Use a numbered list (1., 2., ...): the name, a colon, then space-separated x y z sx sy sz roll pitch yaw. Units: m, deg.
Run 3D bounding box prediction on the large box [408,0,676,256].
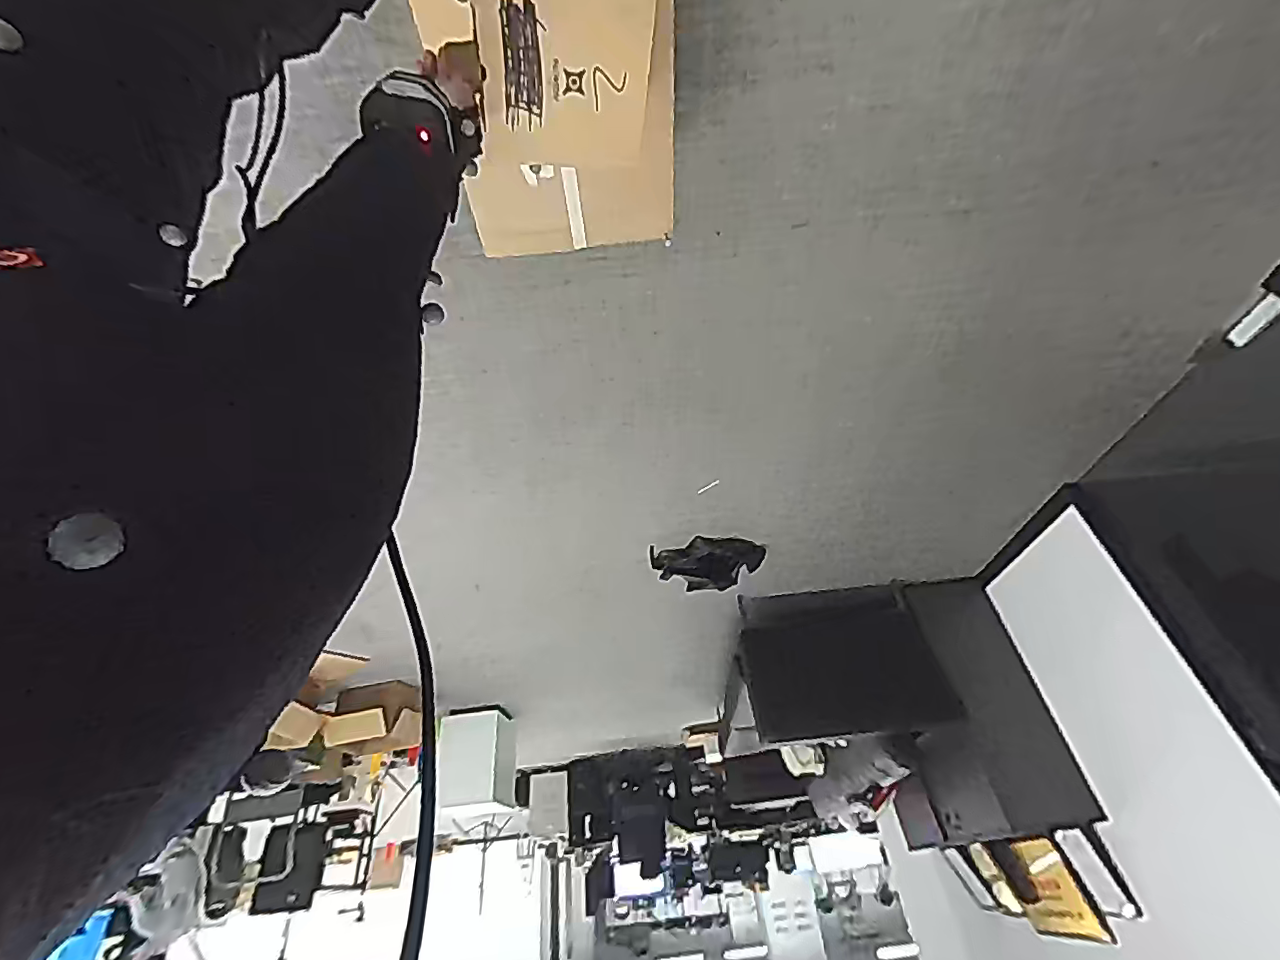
1. large box: -0.123 -0.619 0.811 0.320 0.320 0.408 -6 144 -1
